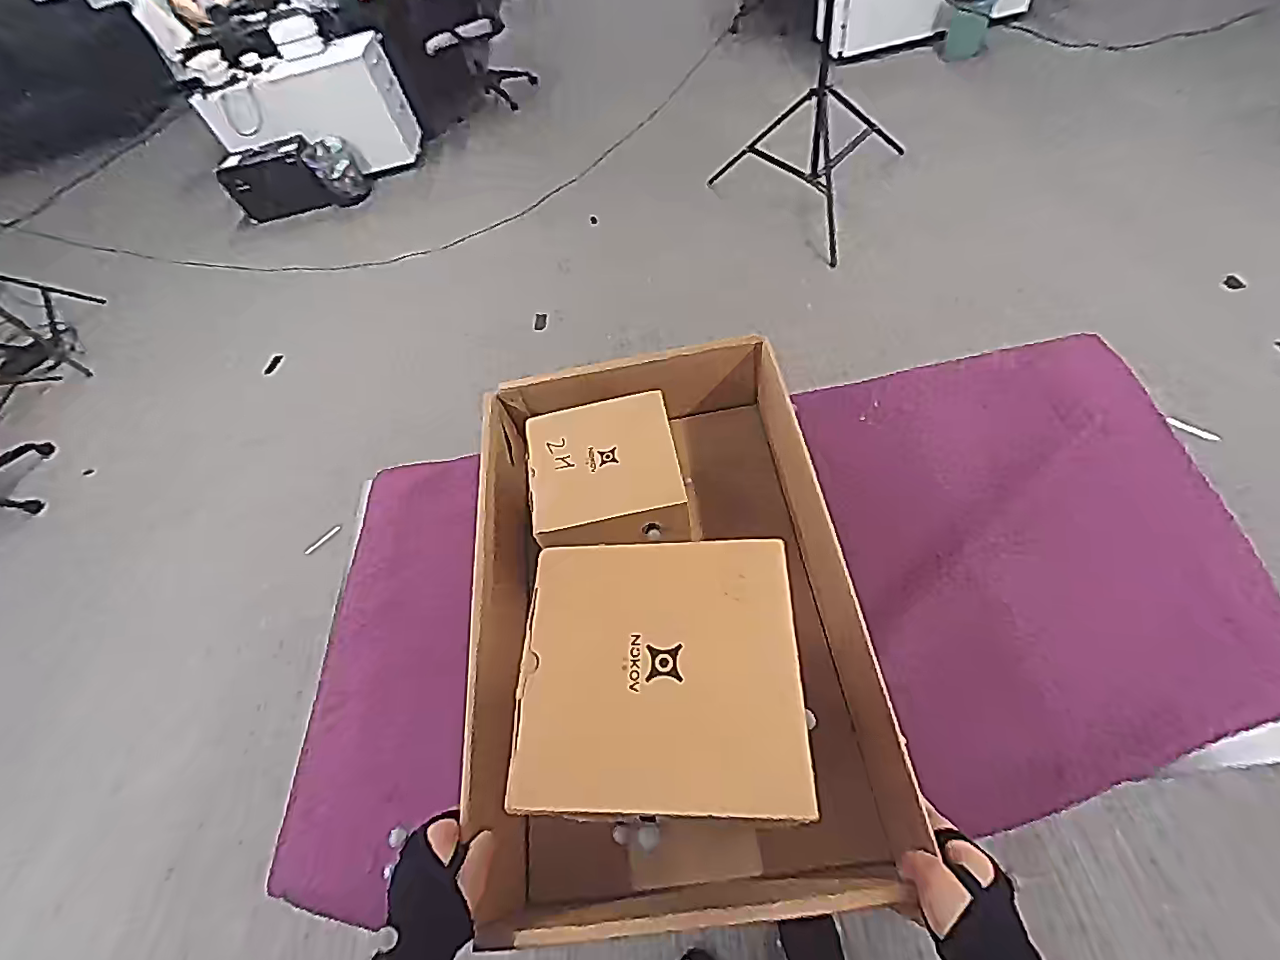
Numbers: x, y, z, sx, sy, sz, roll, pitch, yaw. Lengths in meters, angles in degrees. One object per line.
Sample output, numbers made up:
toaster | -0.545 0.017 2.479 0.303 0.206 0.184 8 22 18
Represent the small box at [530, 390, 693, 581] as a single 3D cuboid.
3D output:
small box | -0.031 0.014 0.697 0.179 0.176 0.168 -12 57 1
